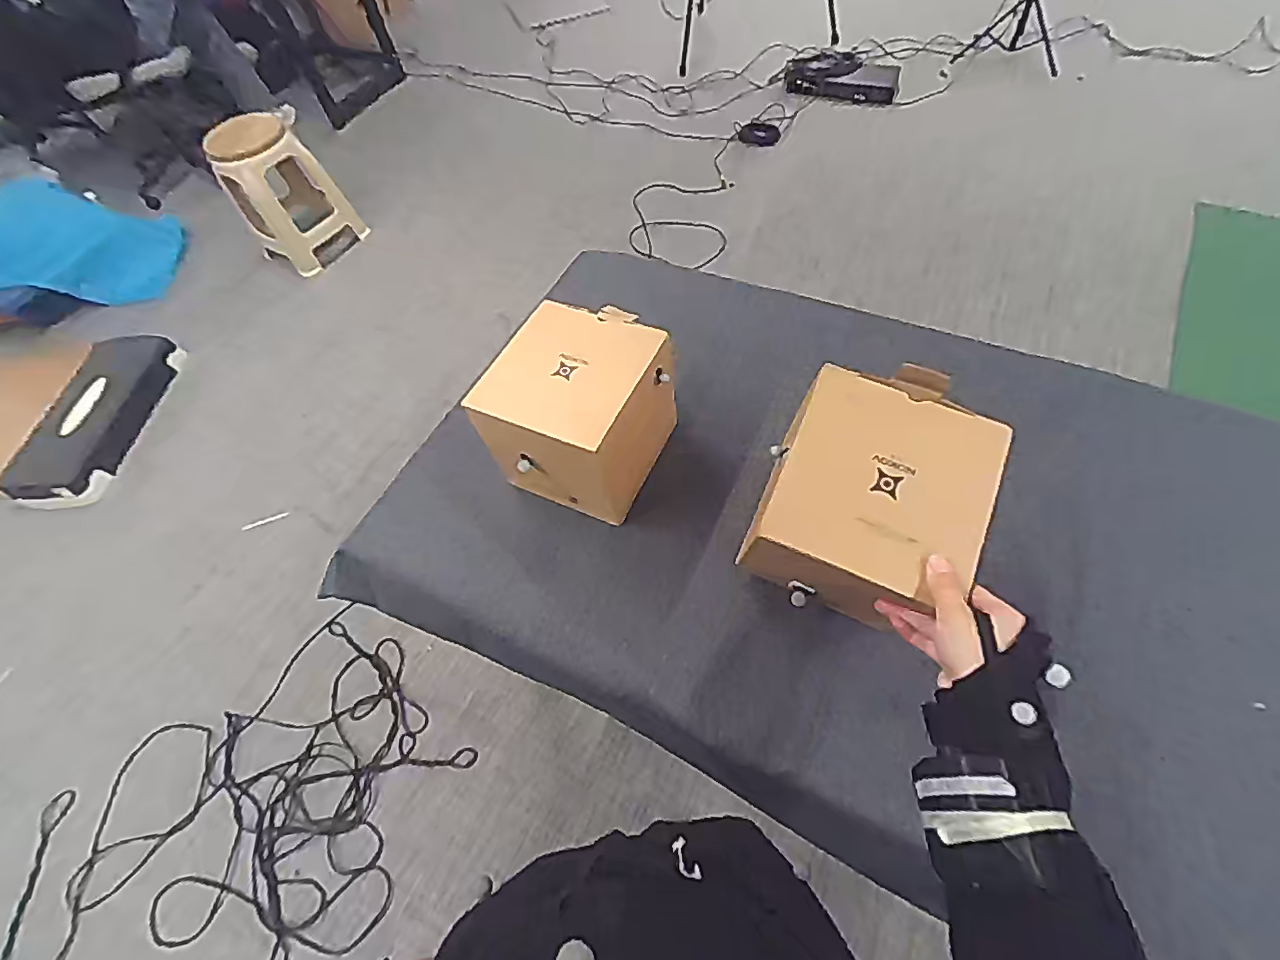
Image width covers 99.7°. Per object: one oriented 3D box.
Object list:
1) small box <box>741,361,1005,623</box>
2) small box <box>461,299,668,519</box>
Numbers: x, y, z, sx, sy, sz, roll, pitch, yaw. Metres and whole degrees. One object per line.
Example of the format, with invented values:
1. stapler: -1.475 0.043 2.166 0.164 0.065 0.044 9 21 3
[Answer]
1. small box: 0.206 0.022 0.522 0.168 0.176 0.179 21 74 11
2. small box: -0.072 -0.079 0.644 0.168 0.176 0.179 19 62 18
